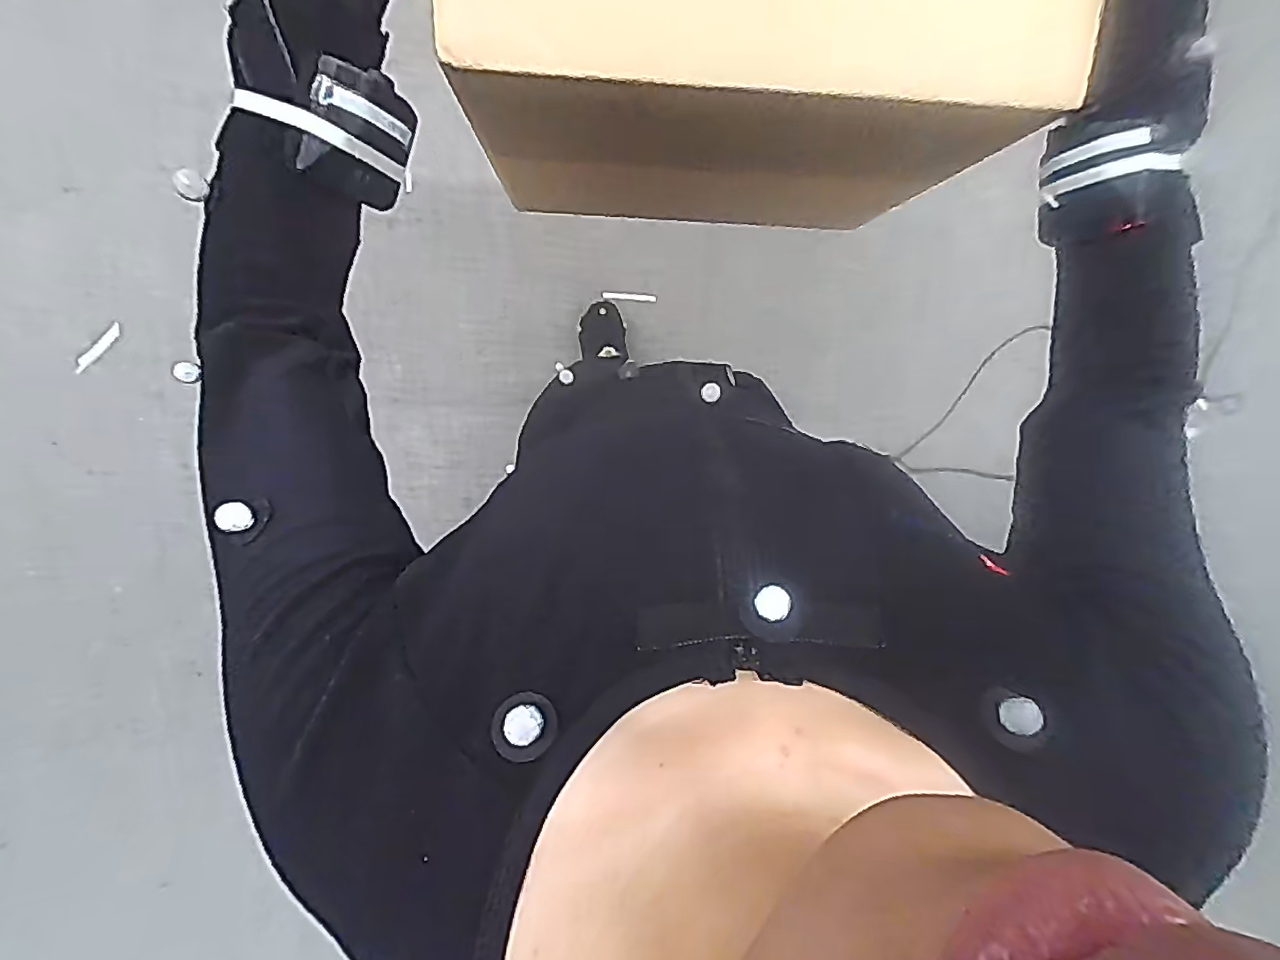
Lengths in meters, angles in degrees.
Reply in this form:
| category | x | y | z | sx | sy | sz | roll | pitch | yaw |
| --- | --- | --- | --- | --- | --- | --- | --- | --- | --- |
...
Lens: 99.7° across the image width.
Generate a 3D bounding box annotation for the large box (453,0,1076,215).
| category | x | y | z | sx | sy | sz | roll | pitch | yaw |
| --- | --- | --- | --- | --- | --- | --- | --- | --- | --- |
| large box | 0.071 | -0.434 | 0.458 | 0.408 | 0.320 | 0.320 | 0 | 102 | -5 |
